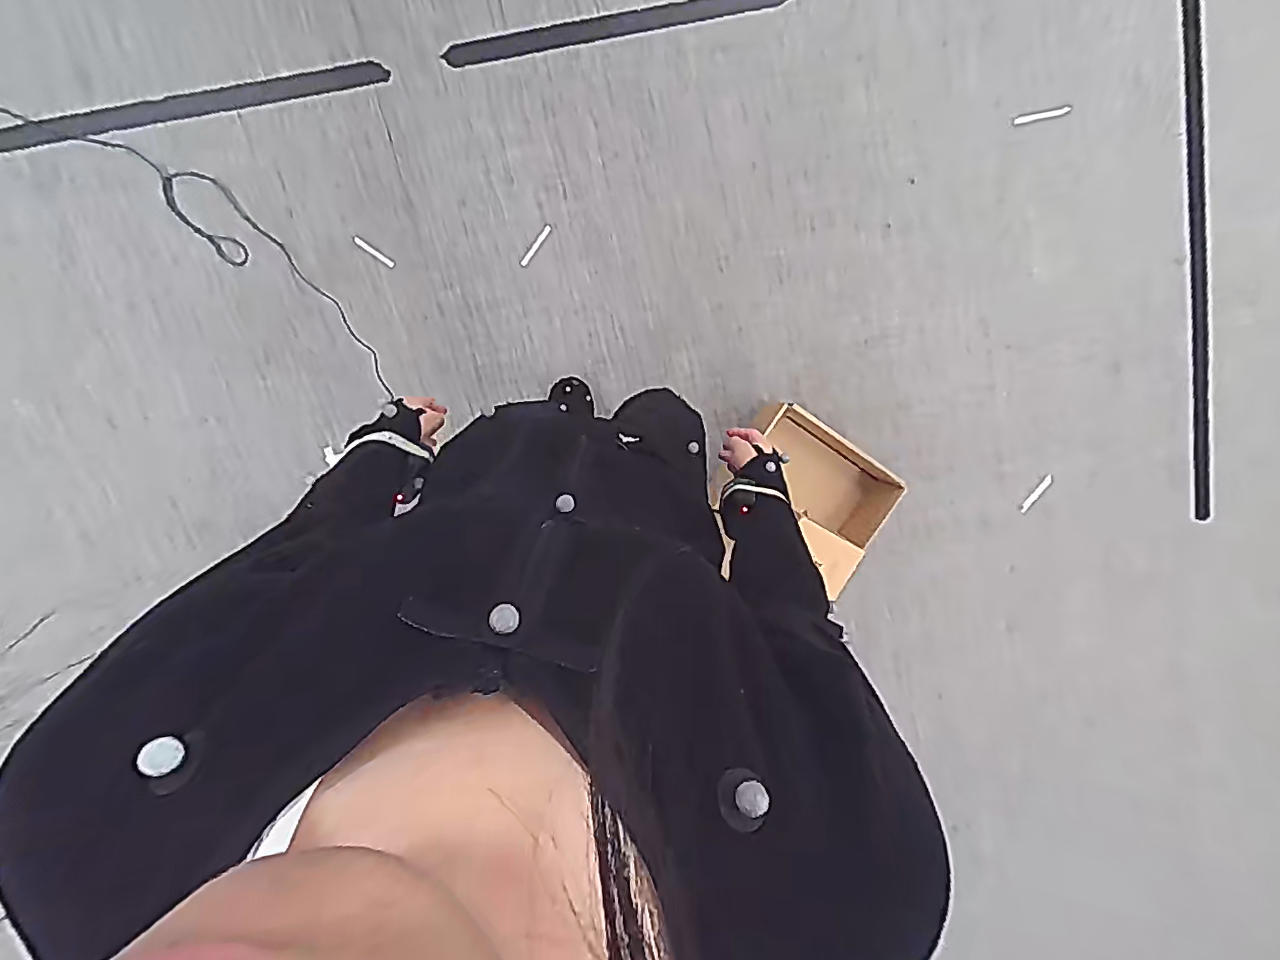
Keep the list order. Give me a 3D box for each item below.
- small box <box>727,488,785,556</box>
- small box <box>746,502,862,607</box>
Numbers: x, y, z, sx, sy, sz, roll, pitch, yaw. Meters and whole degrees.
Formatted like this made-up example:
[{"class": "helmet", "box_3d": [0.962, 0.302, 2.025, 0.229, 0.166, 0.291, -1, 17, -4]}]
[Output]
[{"class": "small box", "box_3d": [0.357, 0.139, 1.434, 0.179, 0.176, 0.168, 32, 97, -9]}, {"class": "small box", "box_3d": [0.375, 0.165, 1.275, 0.179, 0.176, 0.168, 28, 99, -10]}]
